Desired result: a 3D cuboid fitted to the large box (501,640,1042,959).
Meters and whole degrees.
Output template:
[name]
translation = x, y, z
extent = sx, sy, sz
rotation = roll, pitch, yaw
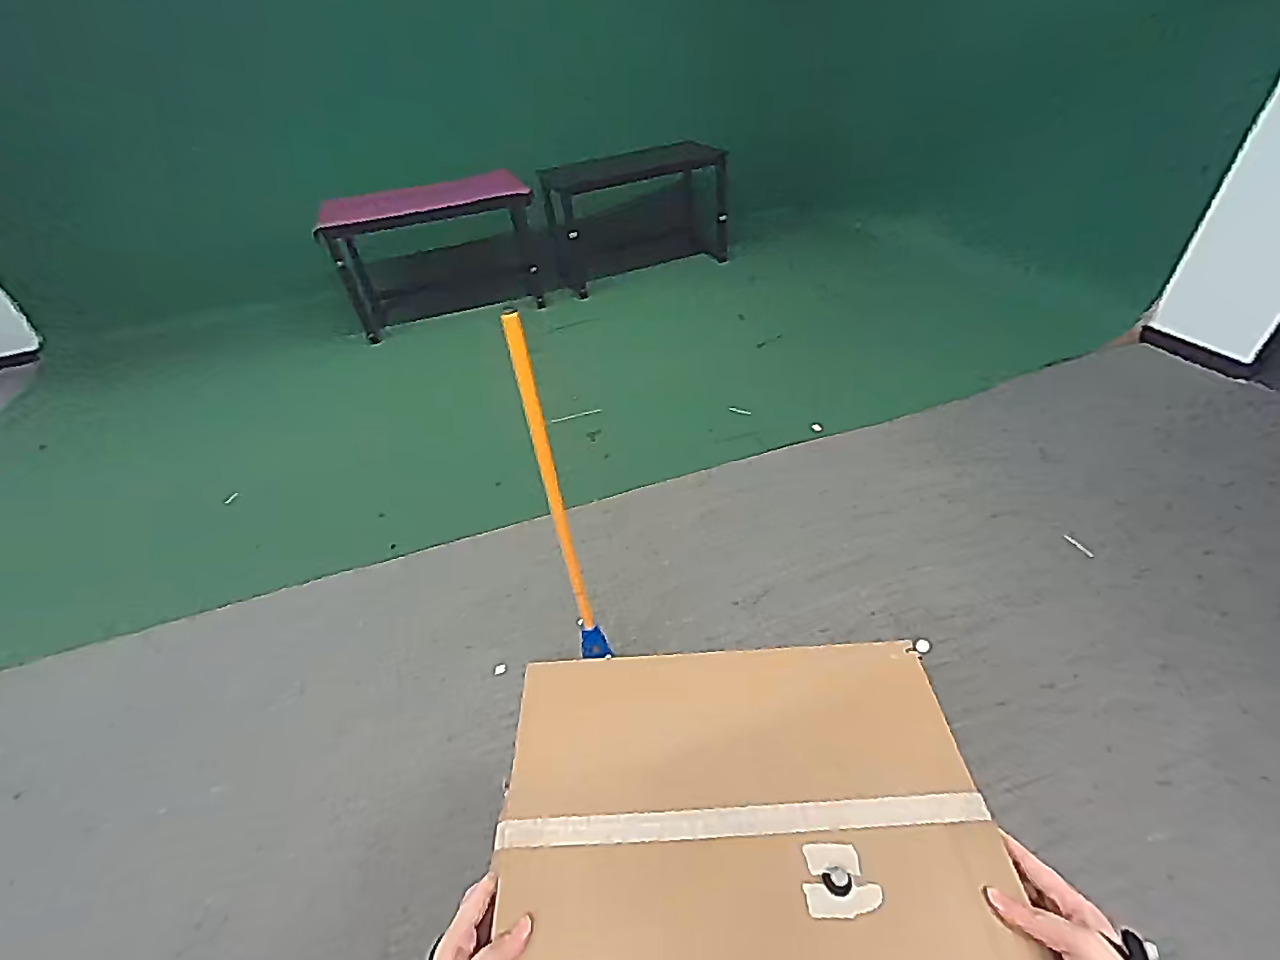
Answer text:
[large box]
translation = 0.095, 0.396, 0.569
extent = 0.408, 0.320, 0.320
rotation = -3, 43, 1
